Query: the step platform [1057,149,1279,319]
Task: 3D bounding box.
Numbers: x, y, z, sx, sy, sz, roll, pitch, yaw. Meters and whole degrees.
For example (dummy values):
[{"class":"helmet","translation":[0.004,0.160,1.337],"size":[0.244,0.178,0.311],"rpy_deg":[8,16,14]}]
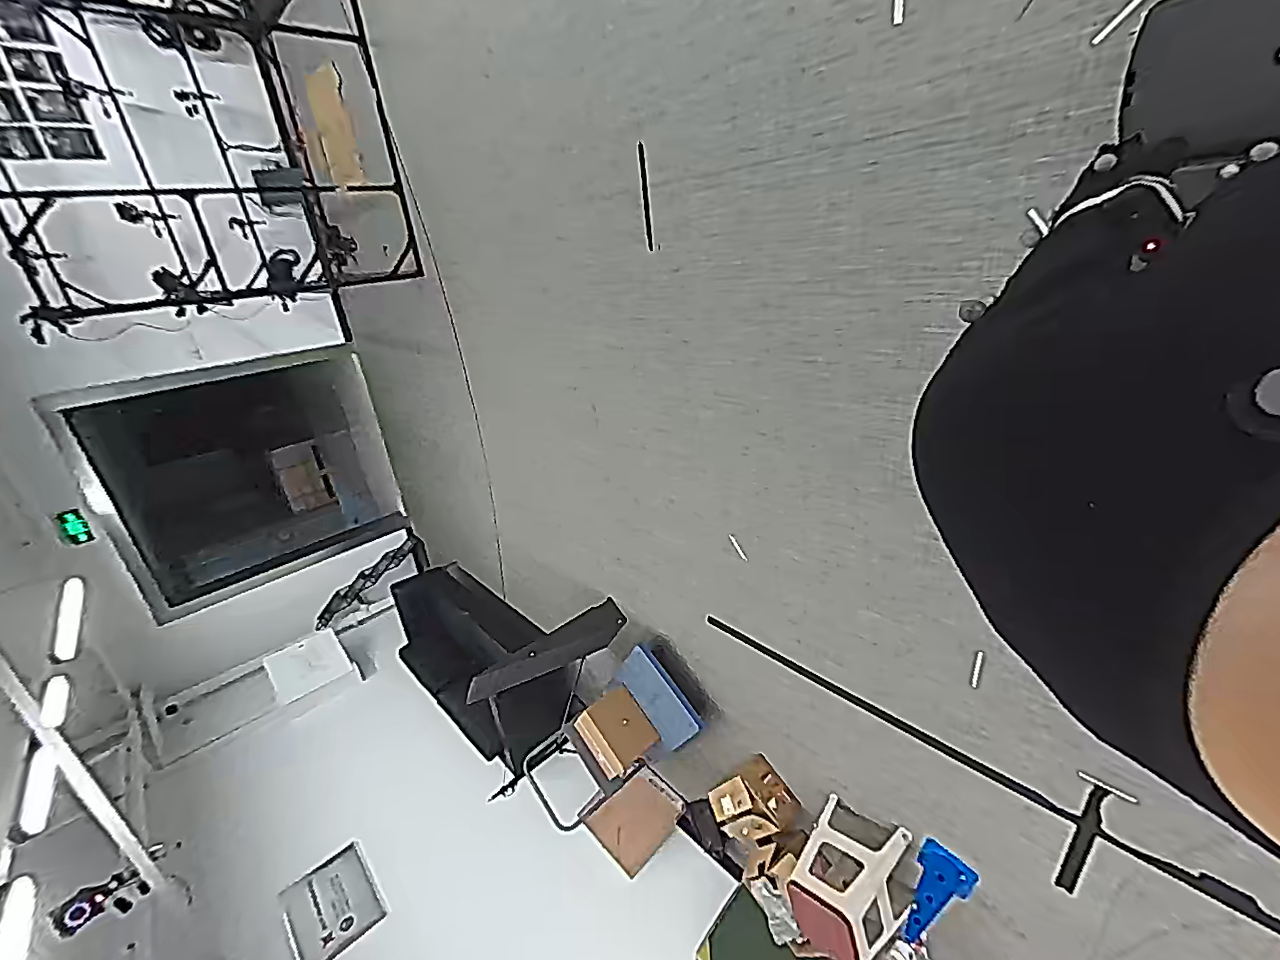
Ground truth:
[{"class":"step platform","translation":[1.184,-0.445,0.972],"size":[0.684,0.204,0.286],"rpy_deg":[19,124,46]}]
